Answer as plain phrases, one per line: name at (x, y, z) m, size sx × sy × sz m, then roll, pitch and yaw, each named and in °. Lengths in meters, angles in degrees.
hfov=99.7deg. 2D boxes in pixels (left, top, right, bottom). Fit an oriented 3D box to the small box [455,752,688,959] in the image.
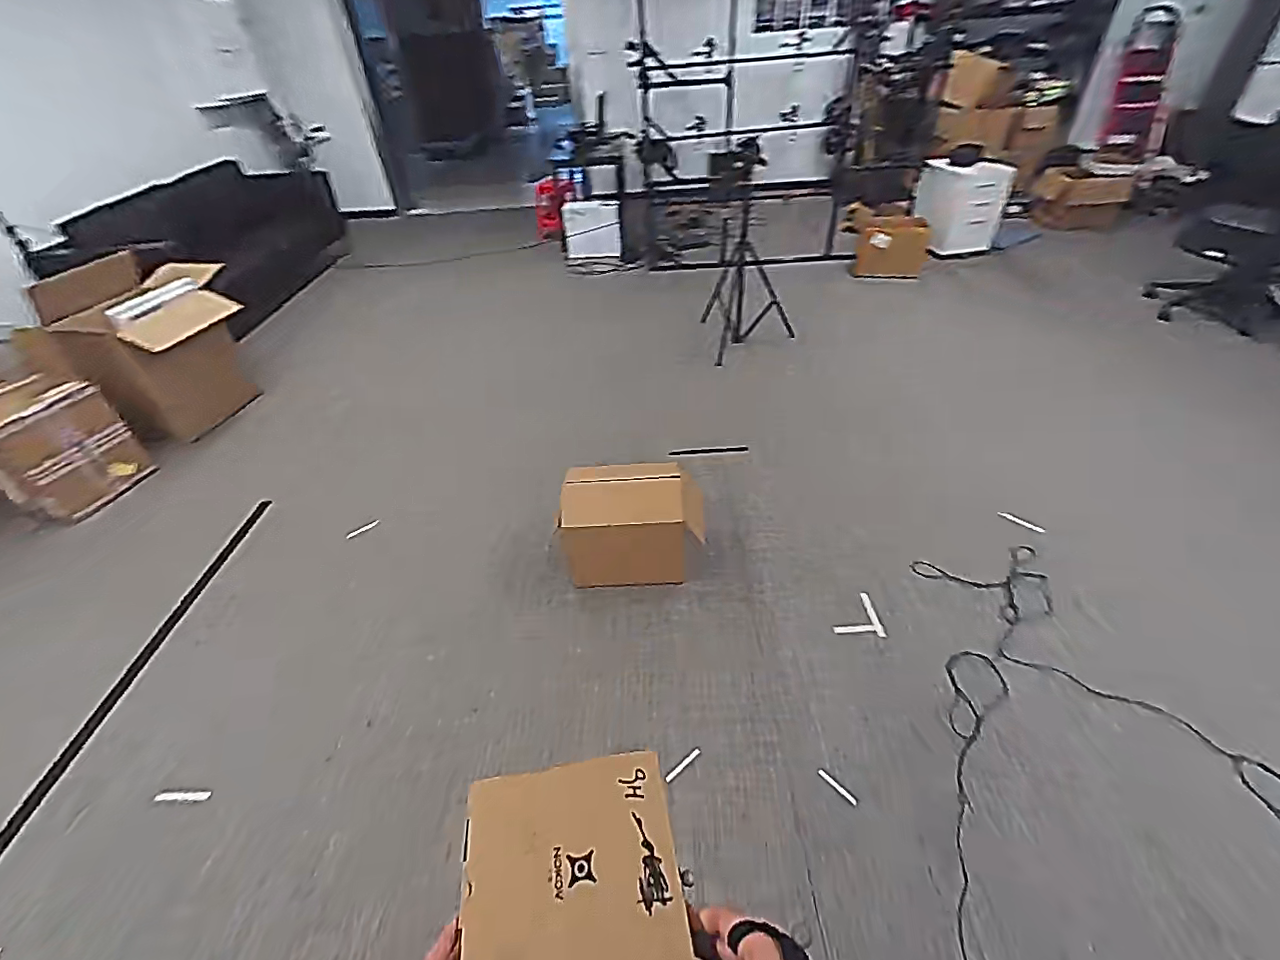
small box at (-0.057, 0.381, 0.495) m, size 0.179 × 0.176 × 0.168 m, roll -7°, pitch 41°, yaw -6°
